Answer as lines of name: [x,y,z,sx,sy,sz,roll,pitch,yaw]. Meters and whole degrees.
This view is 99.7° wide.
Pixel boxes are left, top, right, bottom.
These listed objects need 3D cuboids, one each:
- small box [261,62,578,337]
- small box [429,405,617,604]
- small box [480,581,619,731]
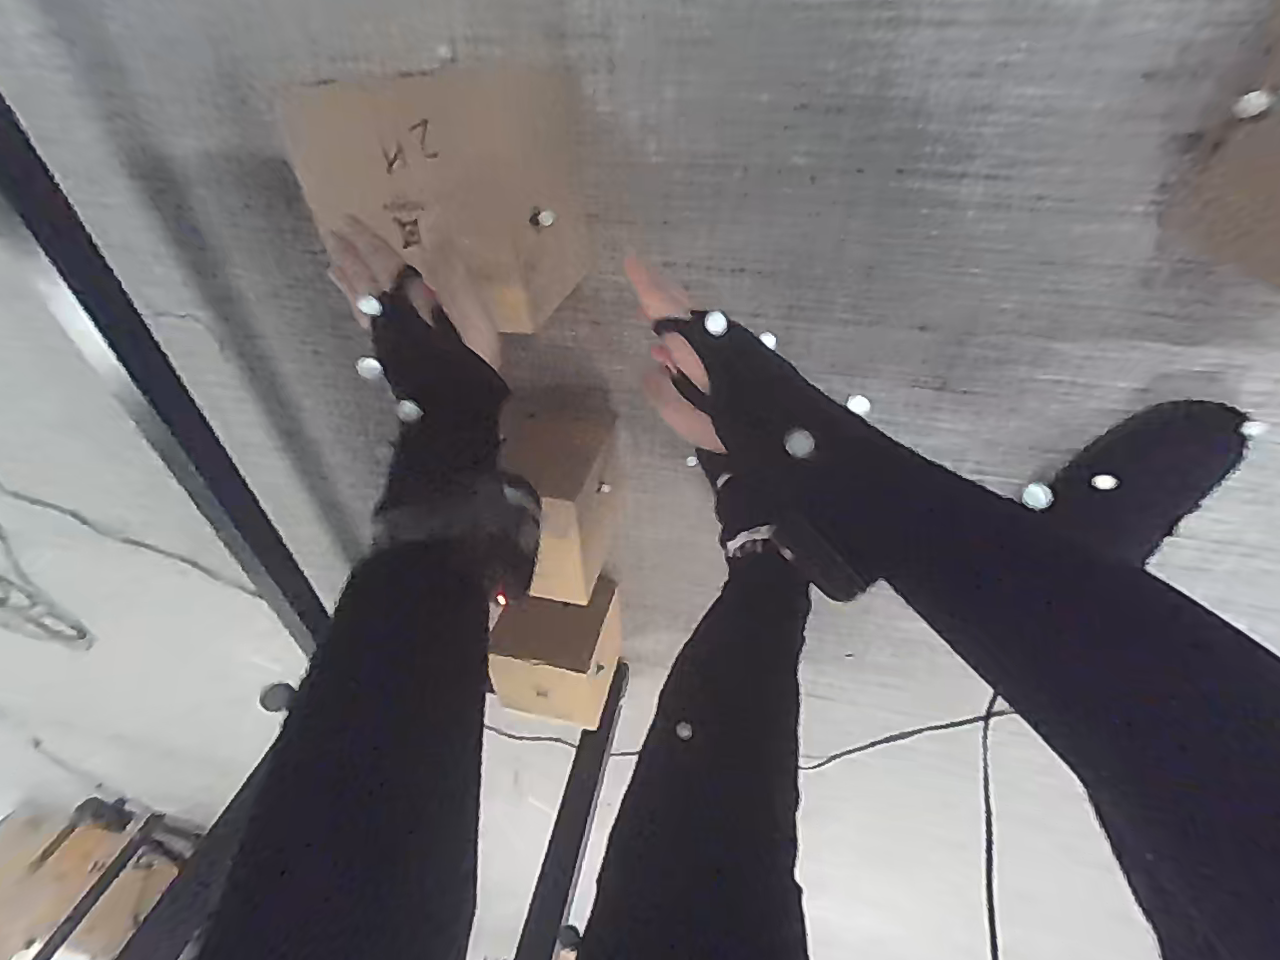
small box: [-0.160,-0.243,0.468,0.168,0.176,0.179,5,130,11]
small box: [-0.130,0.024,0.679,0.168,0.176,0.179,8,131,11]
small box: [-0.134,0.274,0.886,0.168,0.176,0.179,7,129,11]
